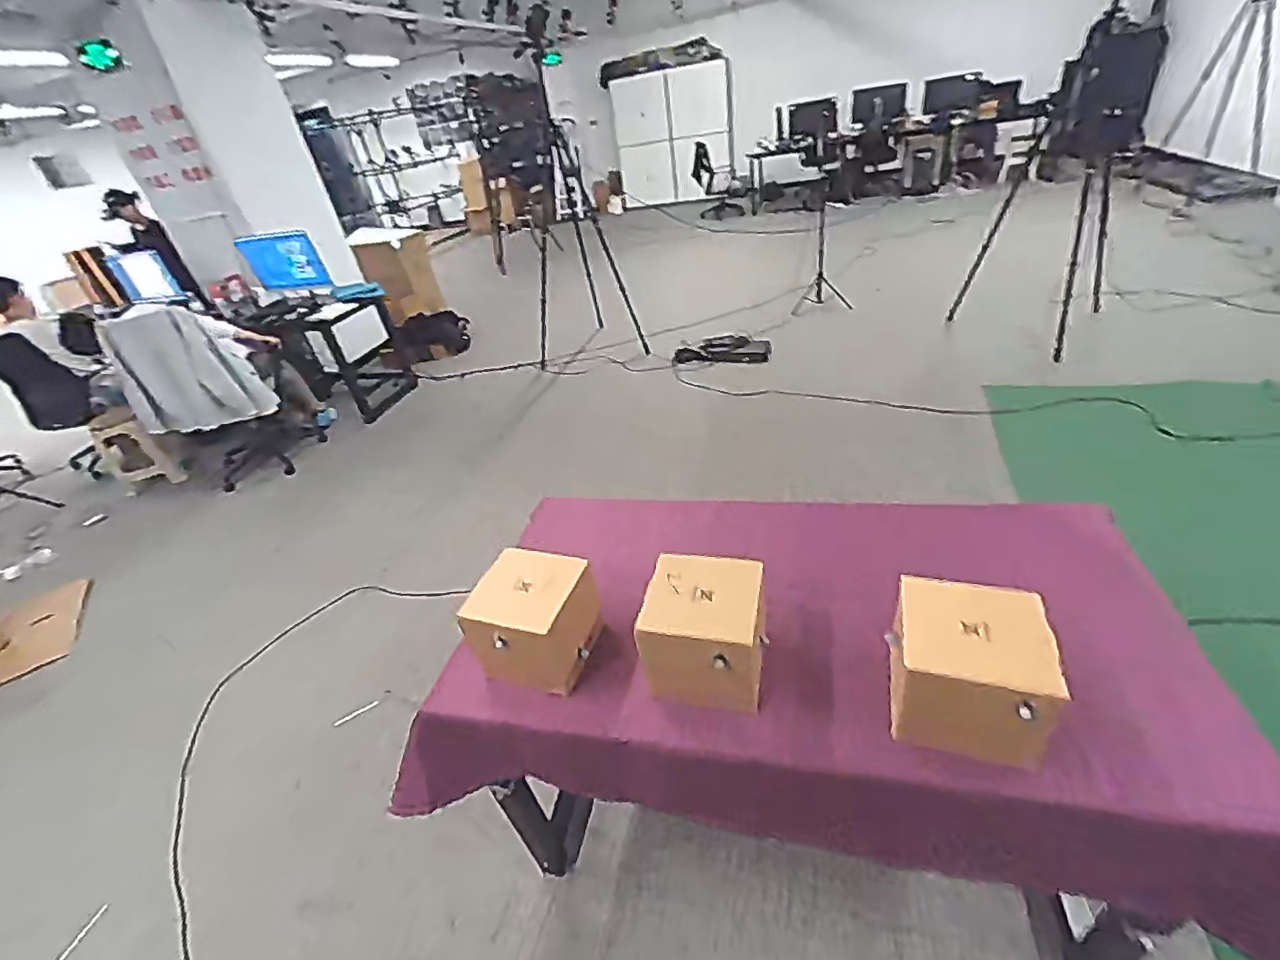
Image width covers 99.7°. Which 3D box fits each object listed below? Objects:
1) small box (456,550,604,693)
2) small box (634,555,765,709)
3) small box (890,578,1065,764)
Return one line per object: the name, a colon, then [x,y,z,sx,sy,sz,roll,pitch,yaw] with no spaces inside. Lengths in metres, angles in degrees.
small box: [-0.183,0.248,0.955,0.179,0.176,0.168,6,38,22]
small box: [0.107,0.245,0.877,0.179,0.176,0.168,2,36,19]
small box: [0.451,0.264,0.756,0.179,0.176,0.168,5,37,21]
